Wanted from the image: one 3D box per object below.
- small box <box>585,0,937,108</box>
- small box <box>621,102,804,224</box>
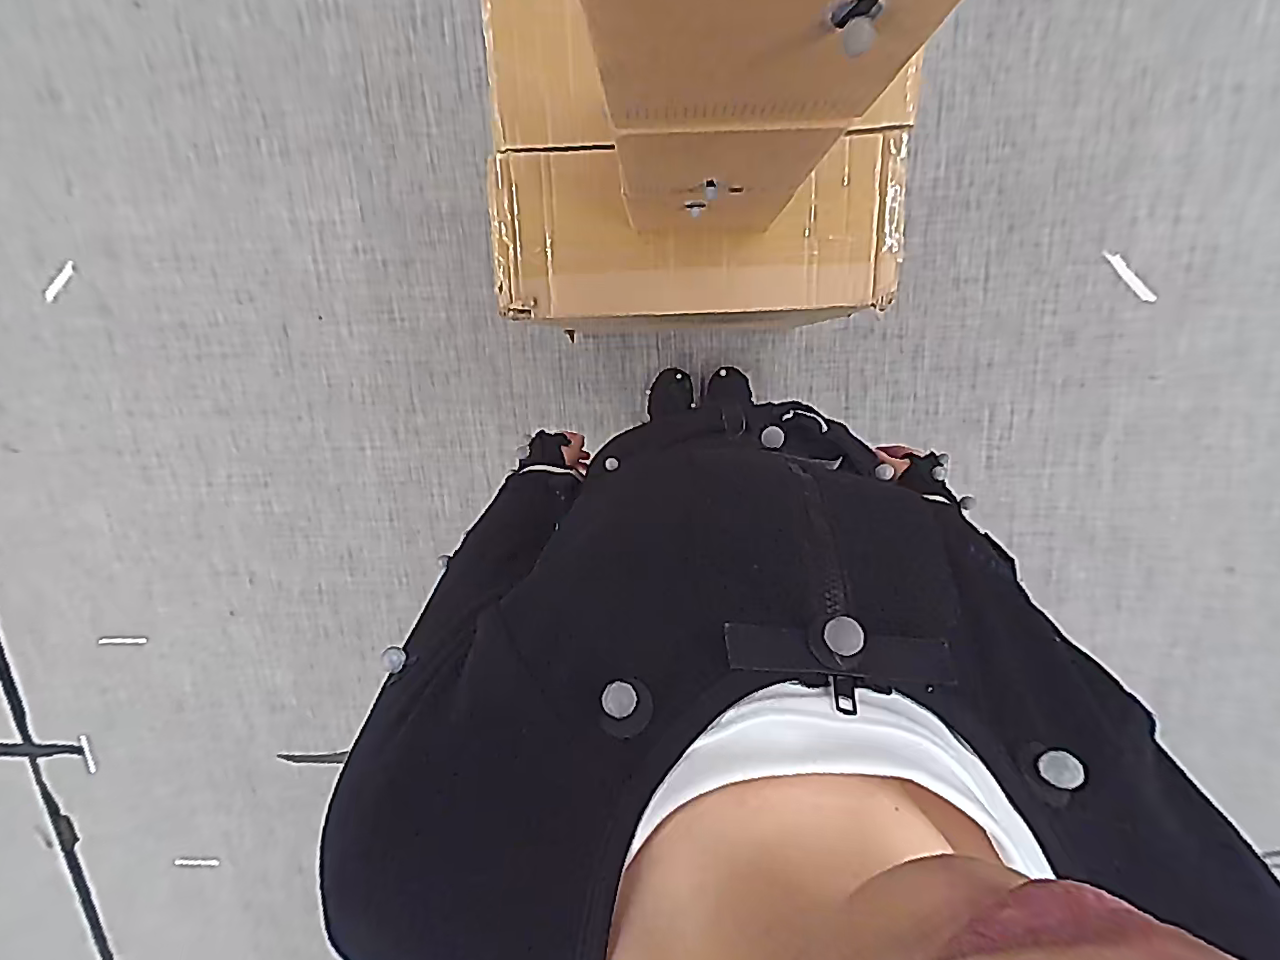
[{"bbox_3d":[0.061,-0.313,0.269,0.179,0.176,0.168,0,103,3],"label":"small box"},{"bbox_3d":[0.074,-0.386,0.590,0.179,0.176,0.168,0,103,3],"label":"small box"}]
